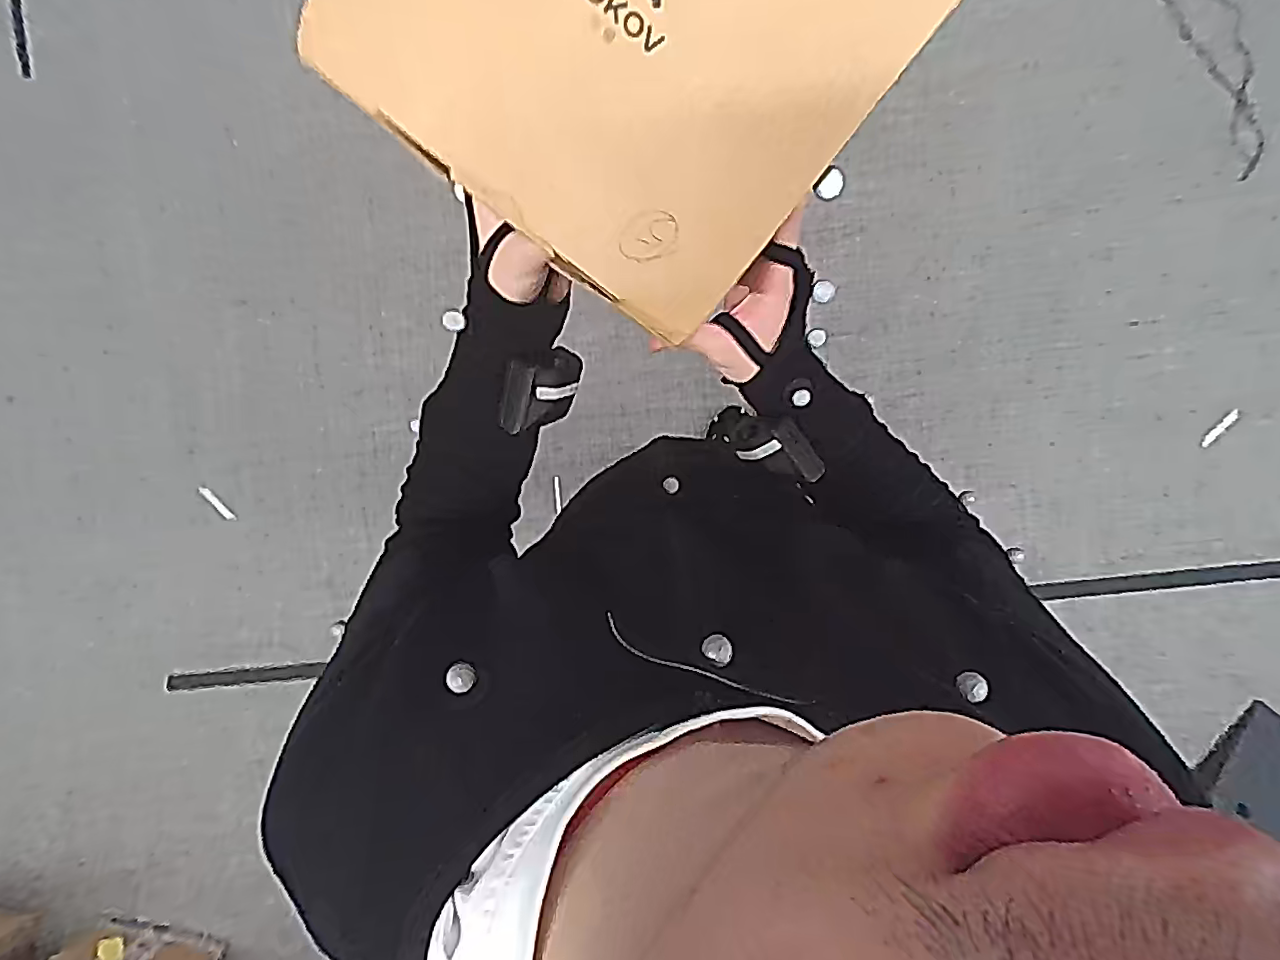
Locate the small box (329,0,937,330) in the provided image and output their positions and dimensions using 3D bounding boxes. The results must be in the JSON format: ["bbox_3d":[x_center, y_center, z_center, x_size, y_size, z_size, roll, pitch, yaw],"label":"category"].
[{"bbox_3d":[0.010,-0.200,0.242,0.168,0.176,0.179,34,115,-11],"label":"small box"}]
